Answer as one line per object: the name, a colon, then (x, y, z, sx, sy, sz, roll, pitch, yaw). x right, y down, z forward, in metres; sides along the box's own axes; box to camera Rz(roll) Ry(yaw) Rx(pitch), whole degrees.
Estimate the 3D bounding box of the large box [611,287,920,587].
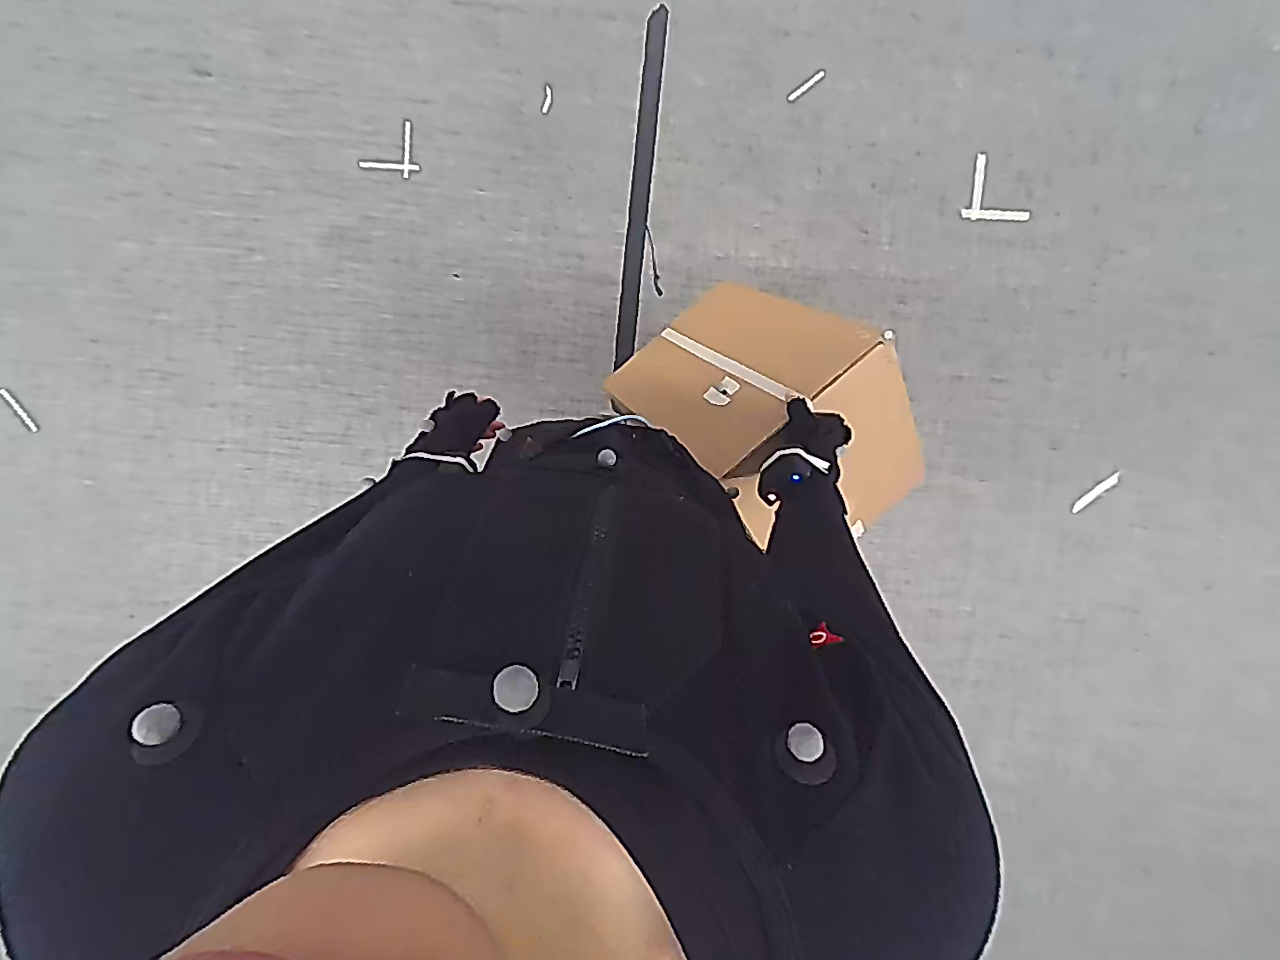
large box: (0.213, -0.092, 0.973, 0.320, 0.408, 0.320, -40, 130, -2)
